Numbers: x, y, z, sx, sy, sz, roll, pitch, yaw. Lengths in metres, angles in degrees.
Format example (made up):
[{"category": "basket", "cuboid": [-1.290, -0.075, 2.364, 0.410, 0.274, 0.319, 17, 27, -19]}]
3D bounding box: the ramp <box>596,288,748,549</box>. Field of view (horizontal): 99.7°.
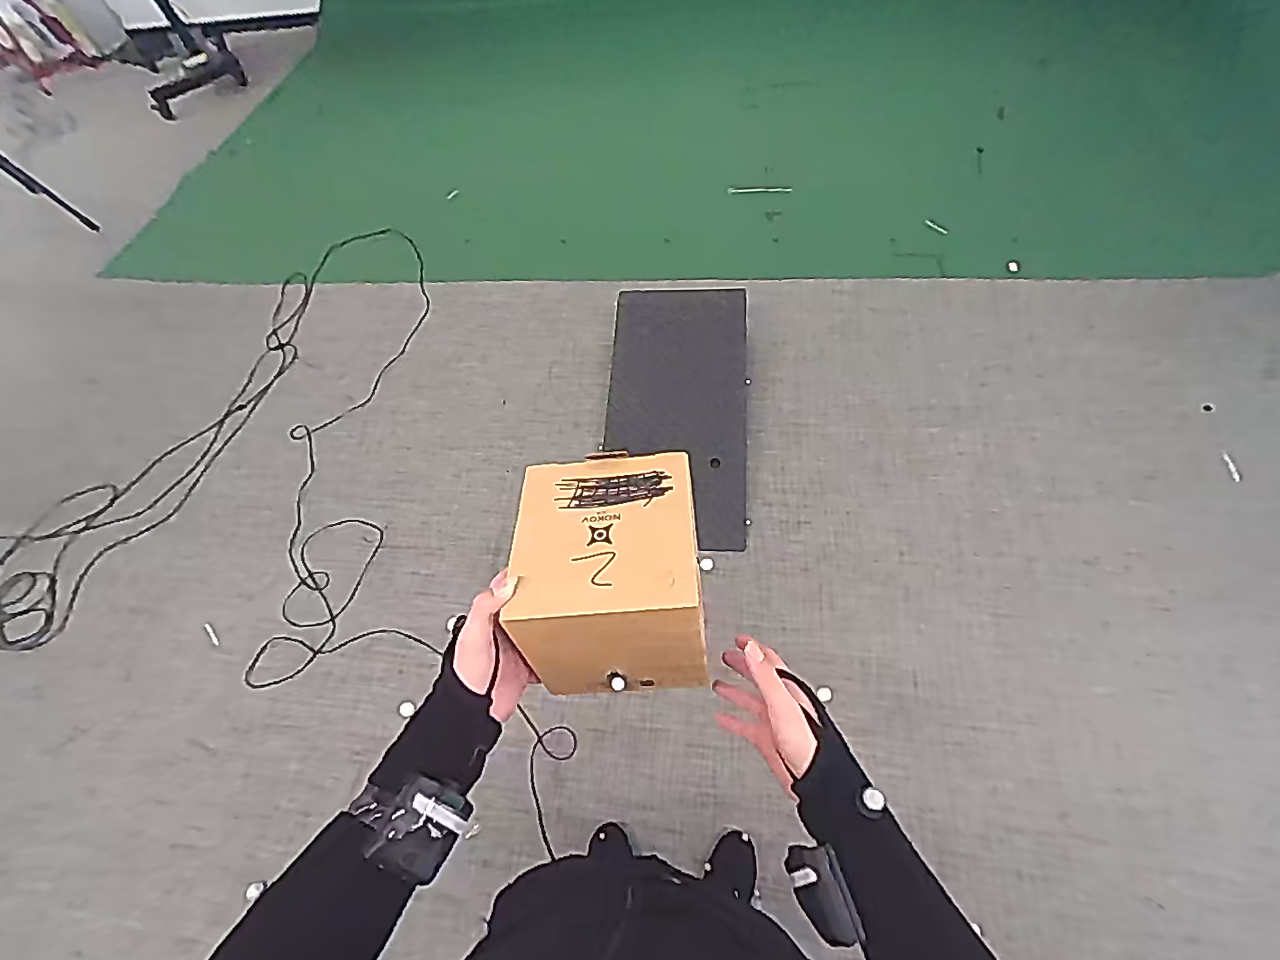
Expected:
[{"category": "ramp", "cuboid": [0.131, -0.256, 1.889, 0.509, 0.206, 0.991, 1, 60, 6]}]
